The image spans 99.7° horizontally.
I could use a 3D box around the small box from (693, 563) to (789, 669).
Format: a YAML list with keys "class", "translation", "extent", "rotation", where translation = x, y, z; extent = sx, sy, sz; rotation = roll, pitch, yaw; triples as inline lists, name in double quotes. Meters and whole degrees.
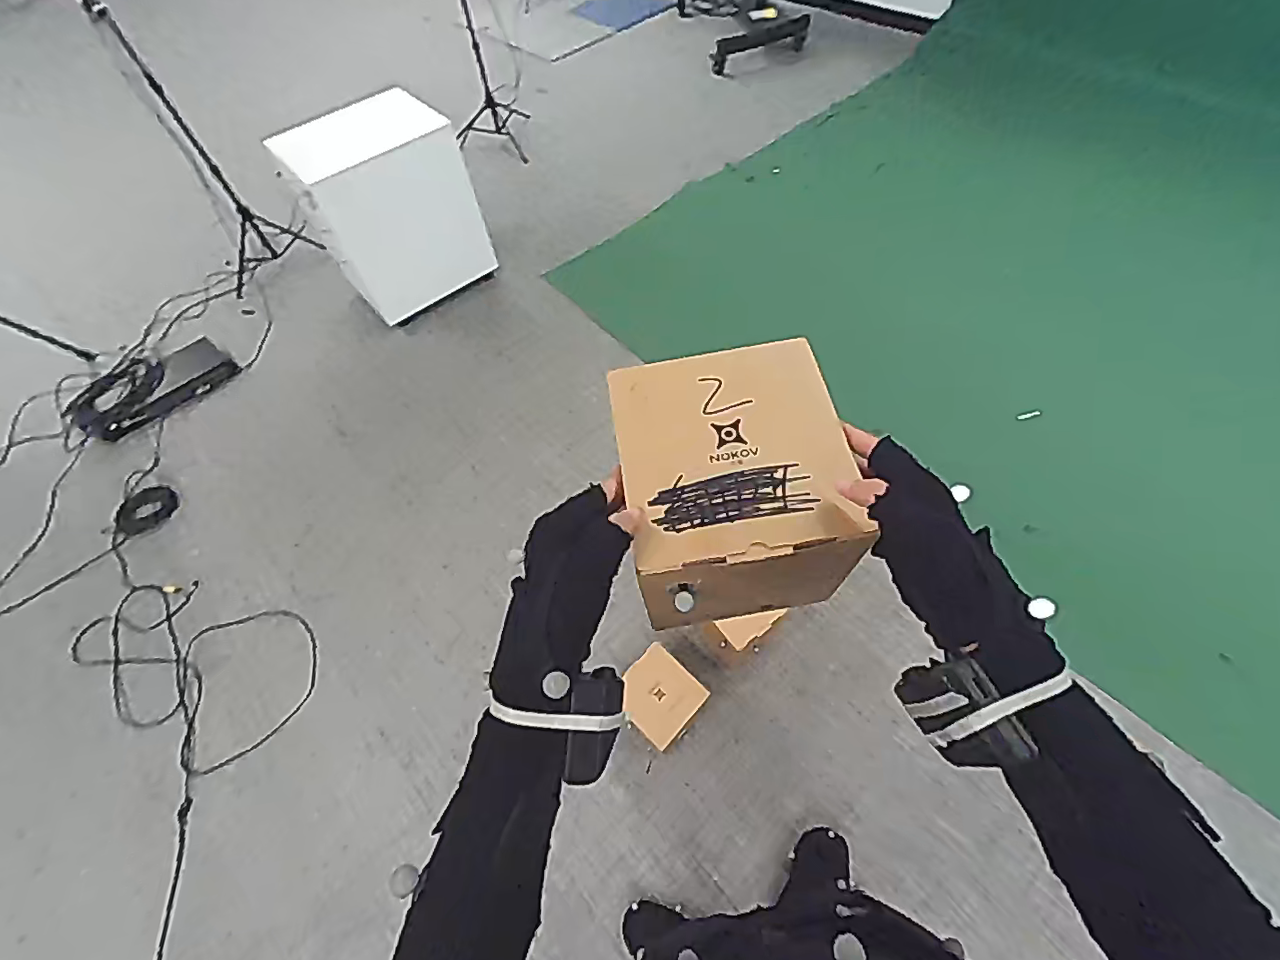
- class: "small box"
  translation: [0.249, 0.352, 1.383]
  extent: [0.168, 0.176, 0.179]
  rotation: [-34, 61, -17]

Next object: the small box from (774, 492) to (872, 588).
- class: "small box"
  translation: [0.494, 0.173, 1.482]
  extent: [0.168, 0.176, 0.179]
  rotation: [-38, 62, -19]

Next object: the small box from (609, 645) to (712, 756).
- class: "small box"
  translation: [0.049, 0.528, 1.282]
  extent: [0.179, 0.176, 0.168]
  rotation: [38, 69, 23]
